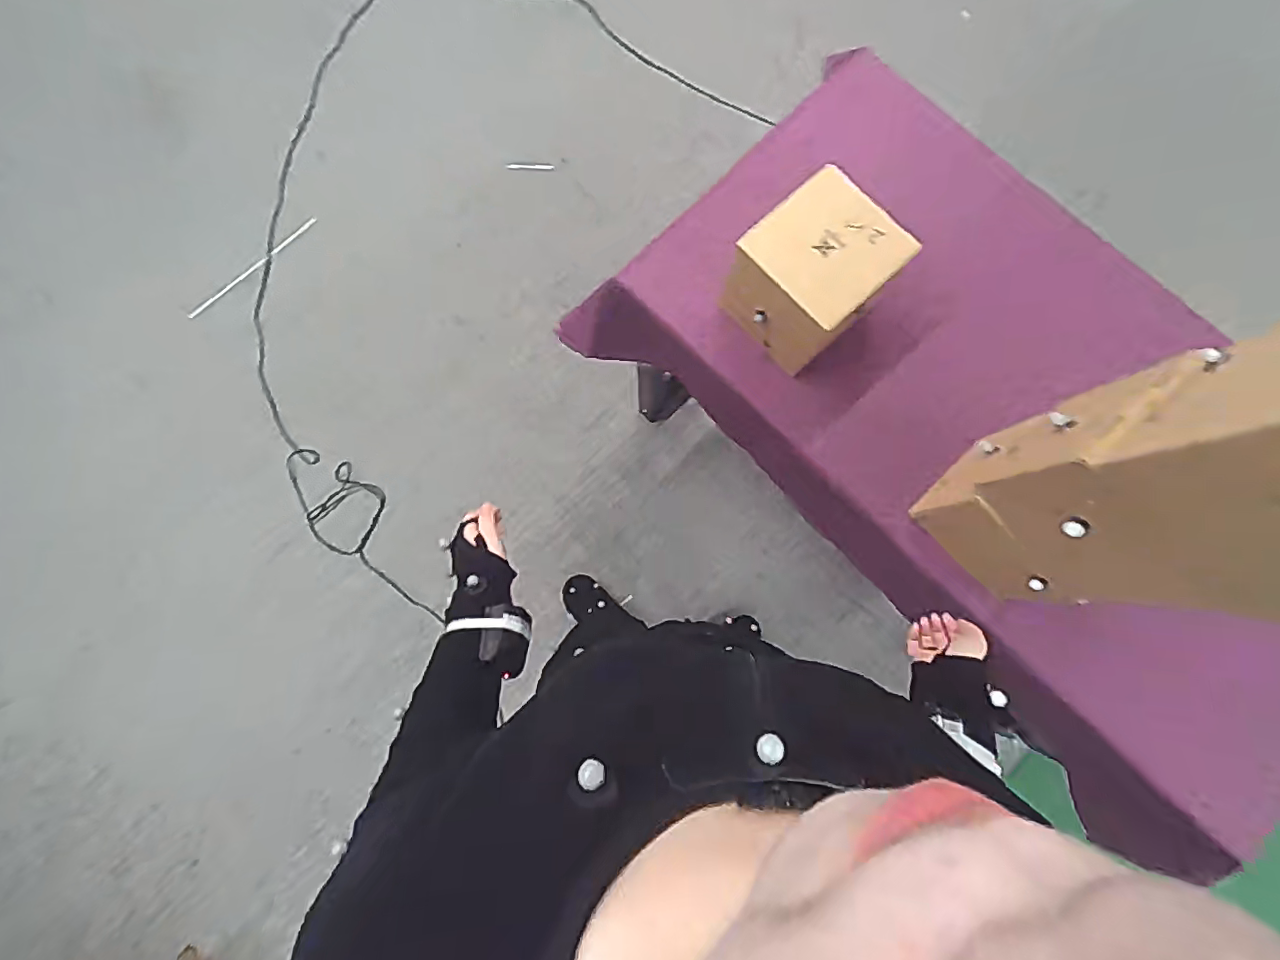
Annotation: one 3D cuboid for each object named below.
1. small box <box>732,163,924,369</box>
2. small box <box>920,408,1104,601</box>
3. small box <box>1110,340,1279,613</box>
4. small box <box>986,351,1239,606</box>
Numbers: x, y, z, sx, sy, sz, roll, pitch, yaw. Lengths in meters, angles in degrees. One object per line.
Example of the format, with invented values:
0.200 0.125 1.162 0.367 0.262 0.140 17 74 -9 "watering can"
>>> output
0.248 -0.288 0.768 0.179 0.176 0.168 -41 83 -5 "small box"
0.517 0.039 0.715 0.168 0.176 0.179 -43 83 -6 "small box"
0.513 -0.009 0.389 0.168 0.176 0.179 -40 84 -5 "small box"
0.511 0.009 0.553 0.168 0.176 0.179 -39 82 -5 "small box"
